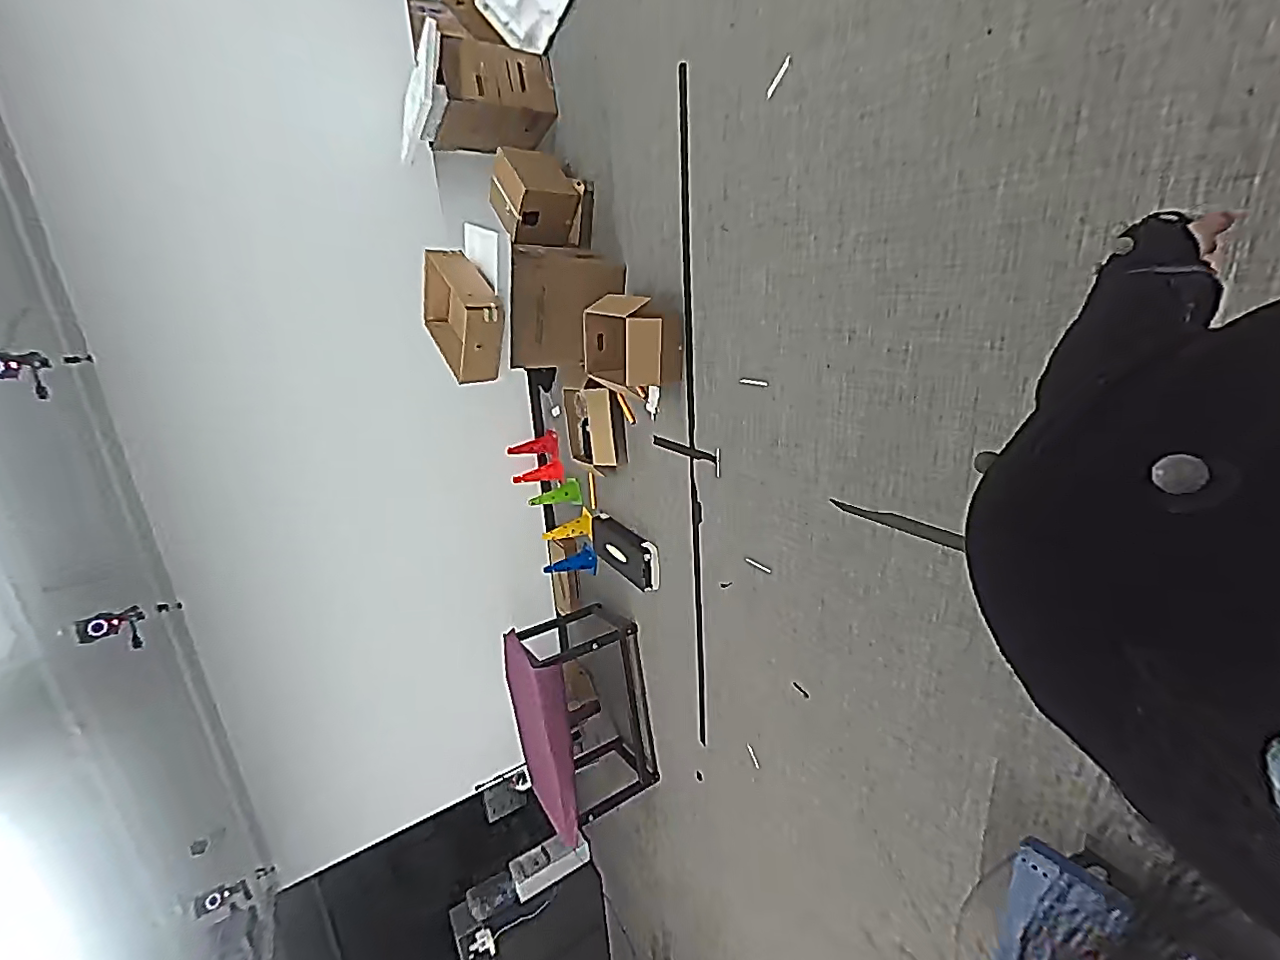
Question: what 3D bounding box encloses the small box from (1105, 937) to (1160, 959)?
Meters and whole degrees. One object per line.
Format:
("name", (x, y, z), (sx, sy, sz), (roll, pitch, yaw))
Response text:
("small box", (1.110, 1.177, 1.184), (0.168, 0.176, 0.179), (21, 120, 55))
